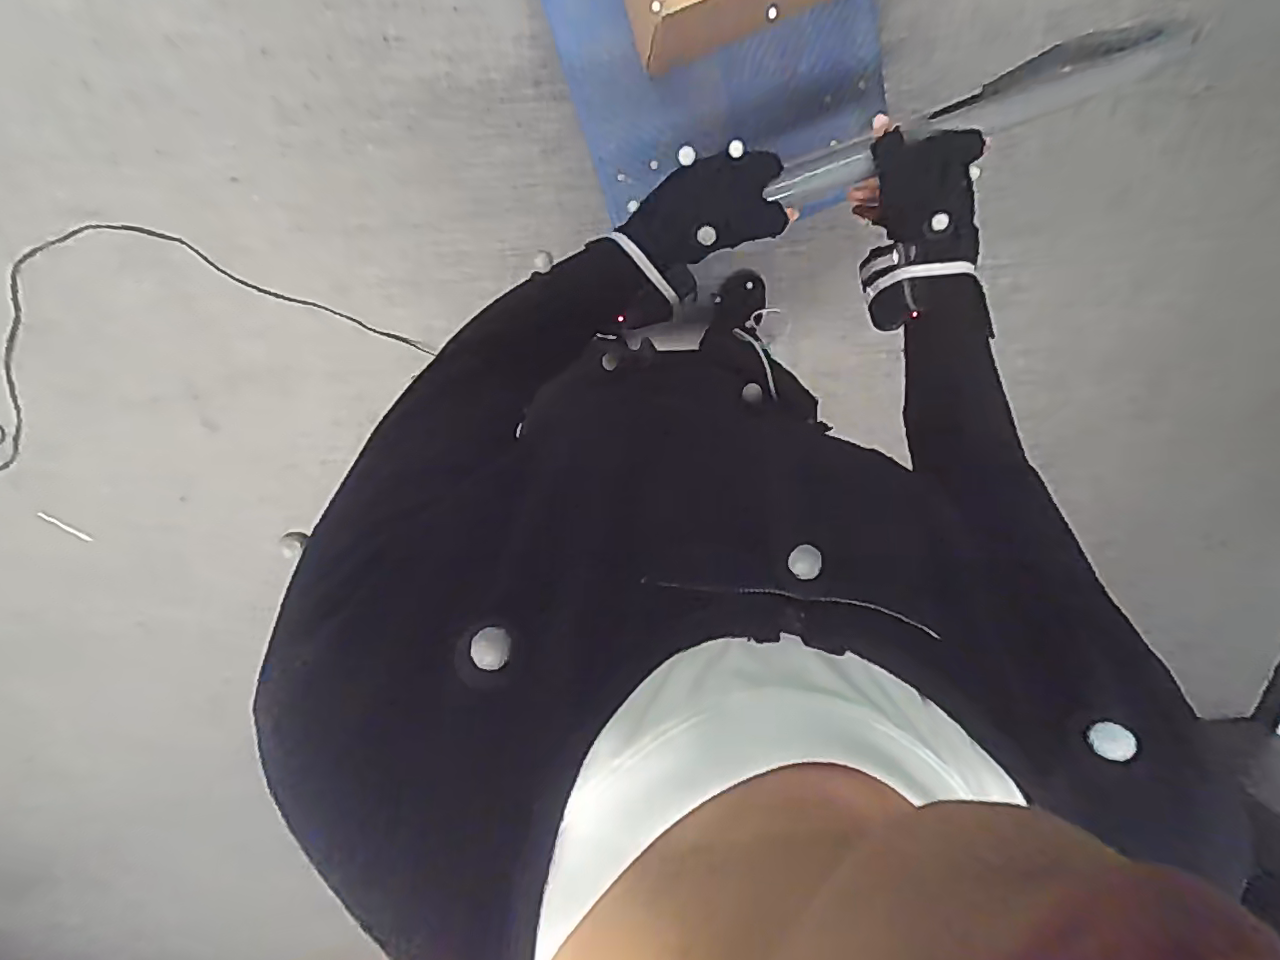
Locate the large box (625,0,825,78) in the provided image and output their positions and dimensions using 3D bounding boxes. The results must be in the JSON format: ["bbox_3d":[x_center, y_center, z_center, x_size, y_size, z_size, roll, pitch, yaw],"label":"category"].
[{"bbox_3d":[0.156,-0.898,0.816,0.408,0.320,0.320,-19,112,7],"label":"large box"}]
